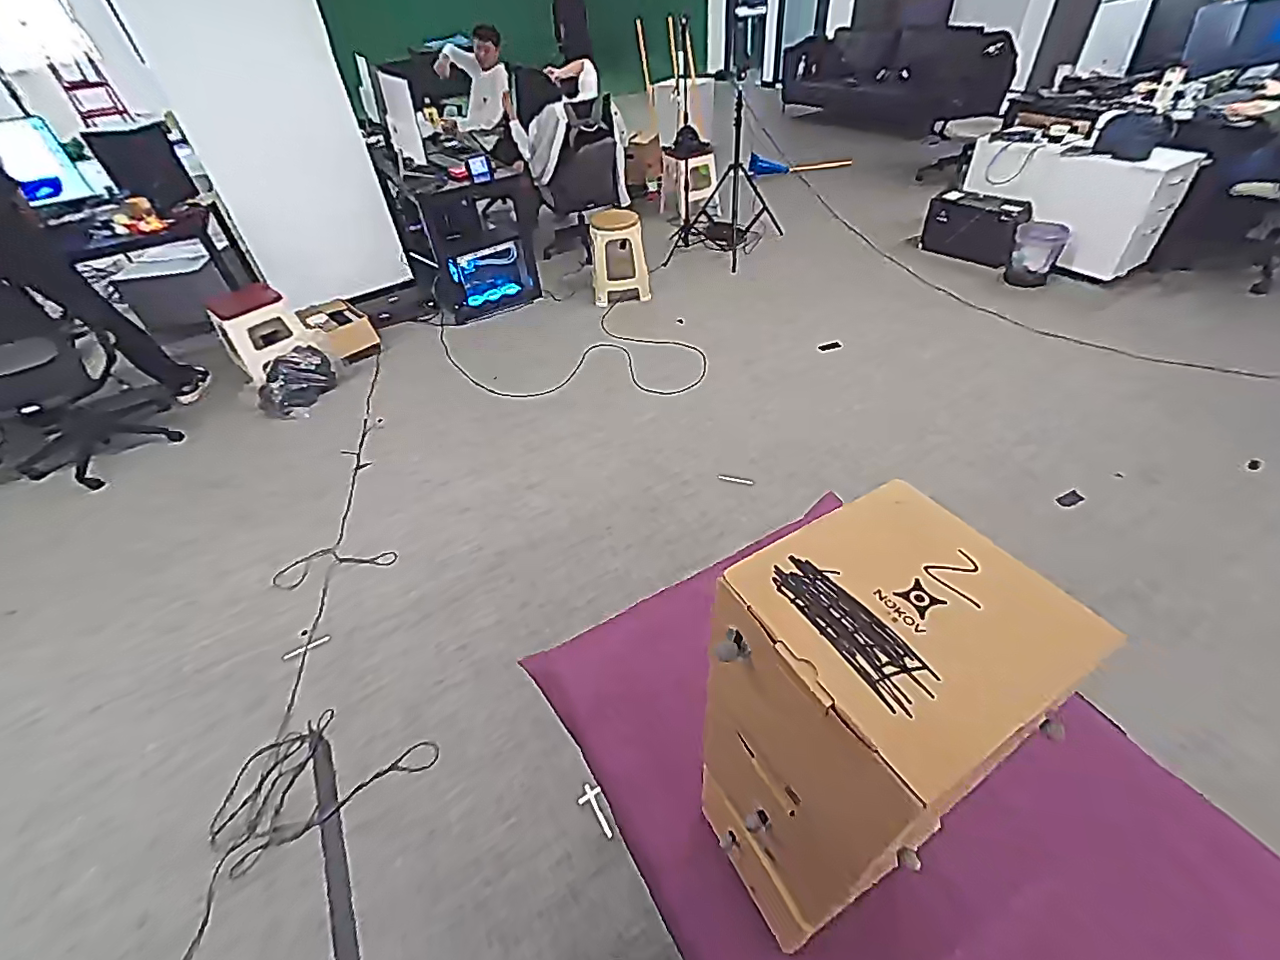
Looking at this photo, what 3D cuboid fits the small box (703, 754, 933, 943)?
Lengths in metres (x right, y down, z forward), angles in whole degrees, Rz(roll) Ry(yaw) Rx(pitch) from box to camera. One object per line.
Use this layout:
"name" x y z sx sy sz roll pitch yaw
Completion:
"small box" 0.188 0.382 0.619 0.179 0.176 0.168 -23 46 -19

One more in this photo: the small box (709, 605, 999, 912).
"small box" 0.182 0.260 0.510 0.179 0.176 0.168 -25 47 -20
